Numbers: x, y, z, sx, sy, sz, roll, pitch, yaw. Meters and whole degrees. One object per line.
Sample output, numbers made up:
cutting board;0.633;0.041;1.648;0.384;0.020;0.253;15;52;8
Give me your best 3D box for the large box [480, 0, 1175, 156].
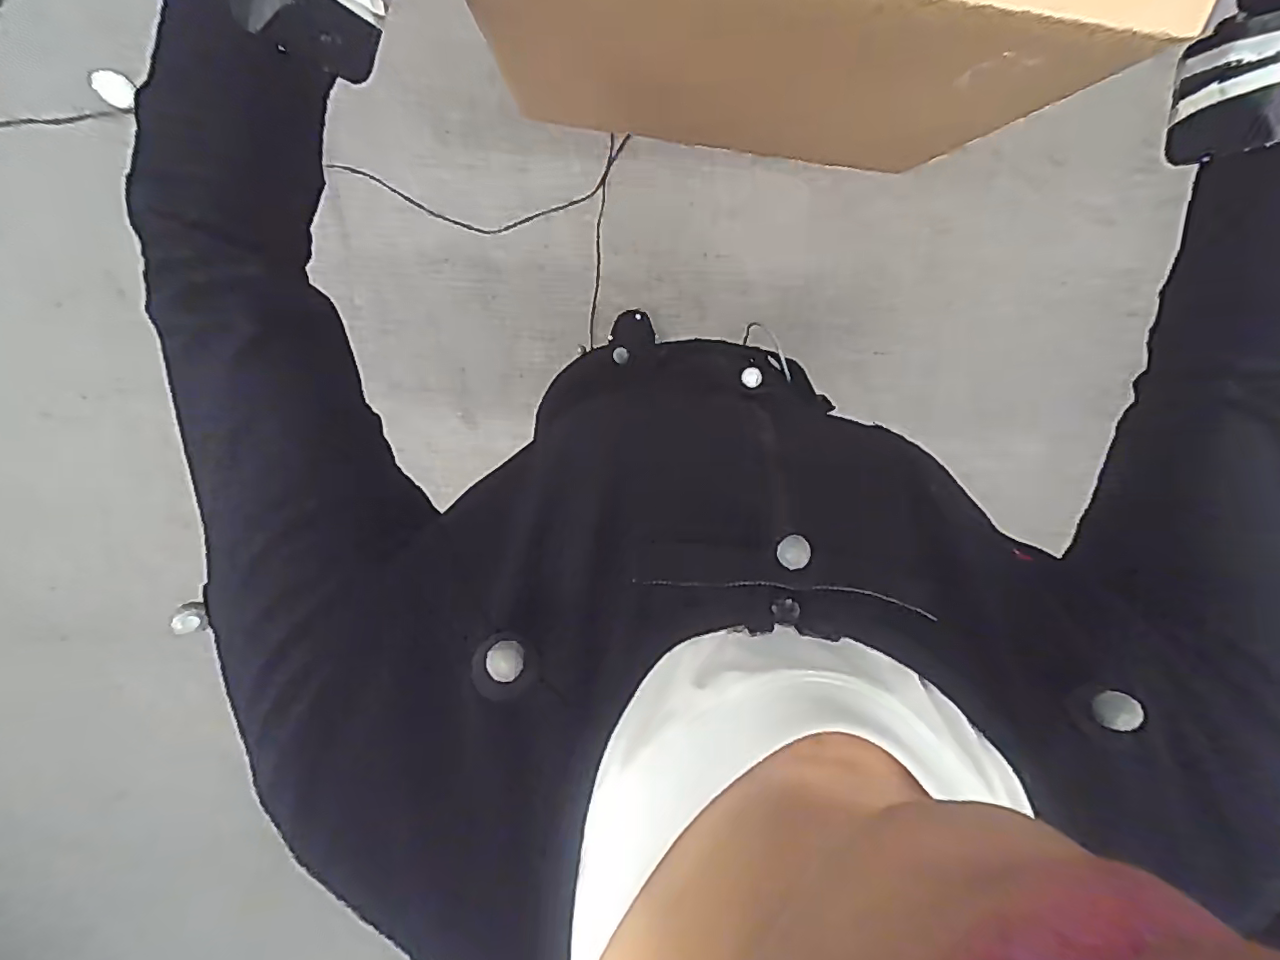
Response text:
large box;0.100;-0.456;0.377;0.408;0.320;0.320;5;109;-4
